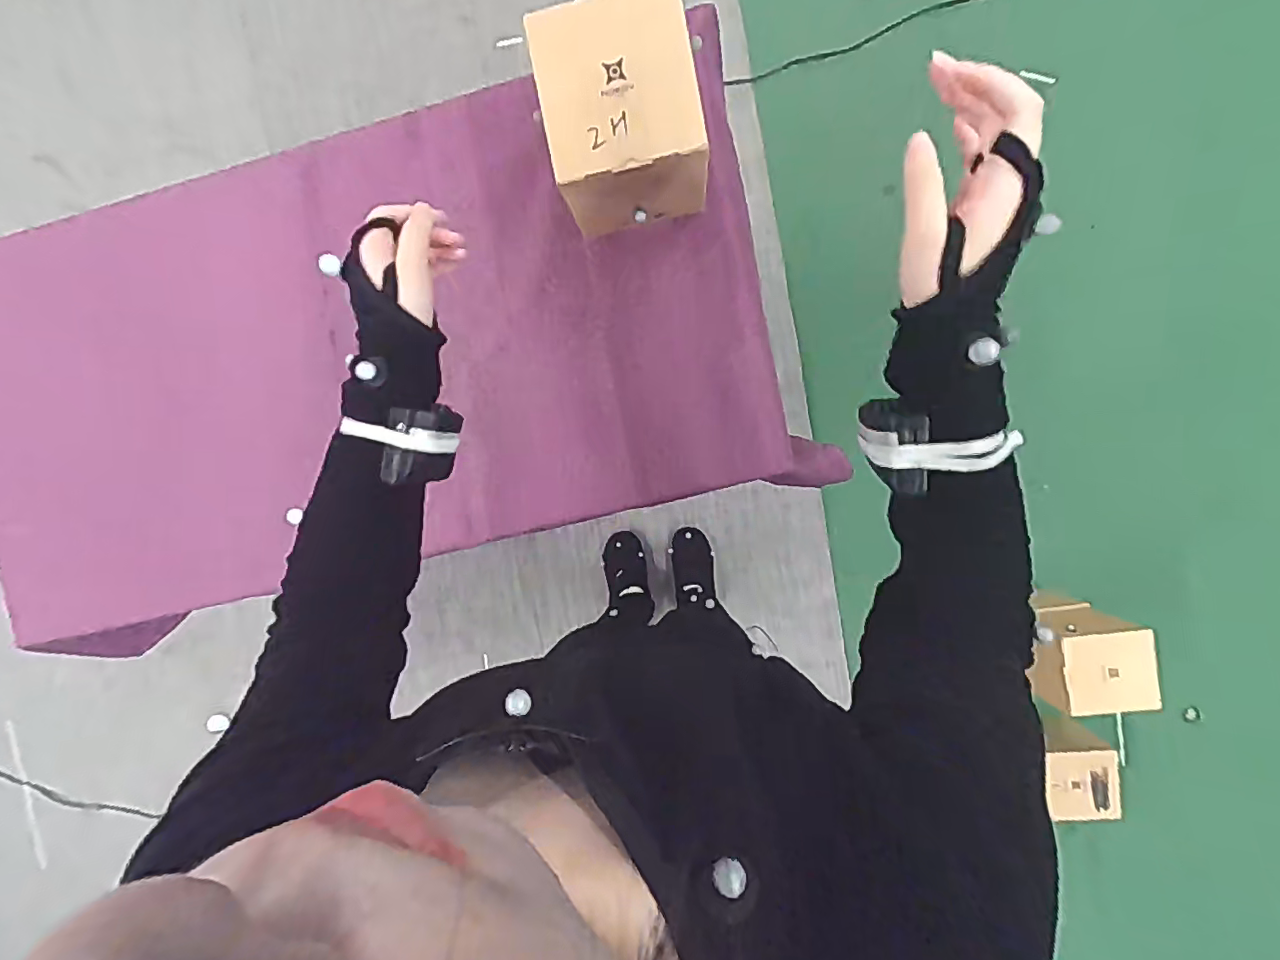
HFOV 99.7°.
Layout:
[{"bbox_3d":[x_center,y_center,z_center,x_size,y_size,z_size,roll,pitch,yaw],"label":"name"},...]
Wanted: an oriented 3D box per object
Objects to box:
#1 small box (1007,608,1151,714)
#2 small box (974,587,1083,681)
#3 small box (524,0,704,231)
[{"bbox_3d":[0.944,0.385,1.176,0.179,0.176,0.168,-8,92,5],"label":"small box"},{"bbox_3d":[0.960,0.376,1.338,0.168,0.176,0.179,-8,91,5],"label":"small box"},{"bbox_3d":[-0.022,-0.425,0.640,0.168,0.176,0.179,-10,95,6],"label":"small box"}]
